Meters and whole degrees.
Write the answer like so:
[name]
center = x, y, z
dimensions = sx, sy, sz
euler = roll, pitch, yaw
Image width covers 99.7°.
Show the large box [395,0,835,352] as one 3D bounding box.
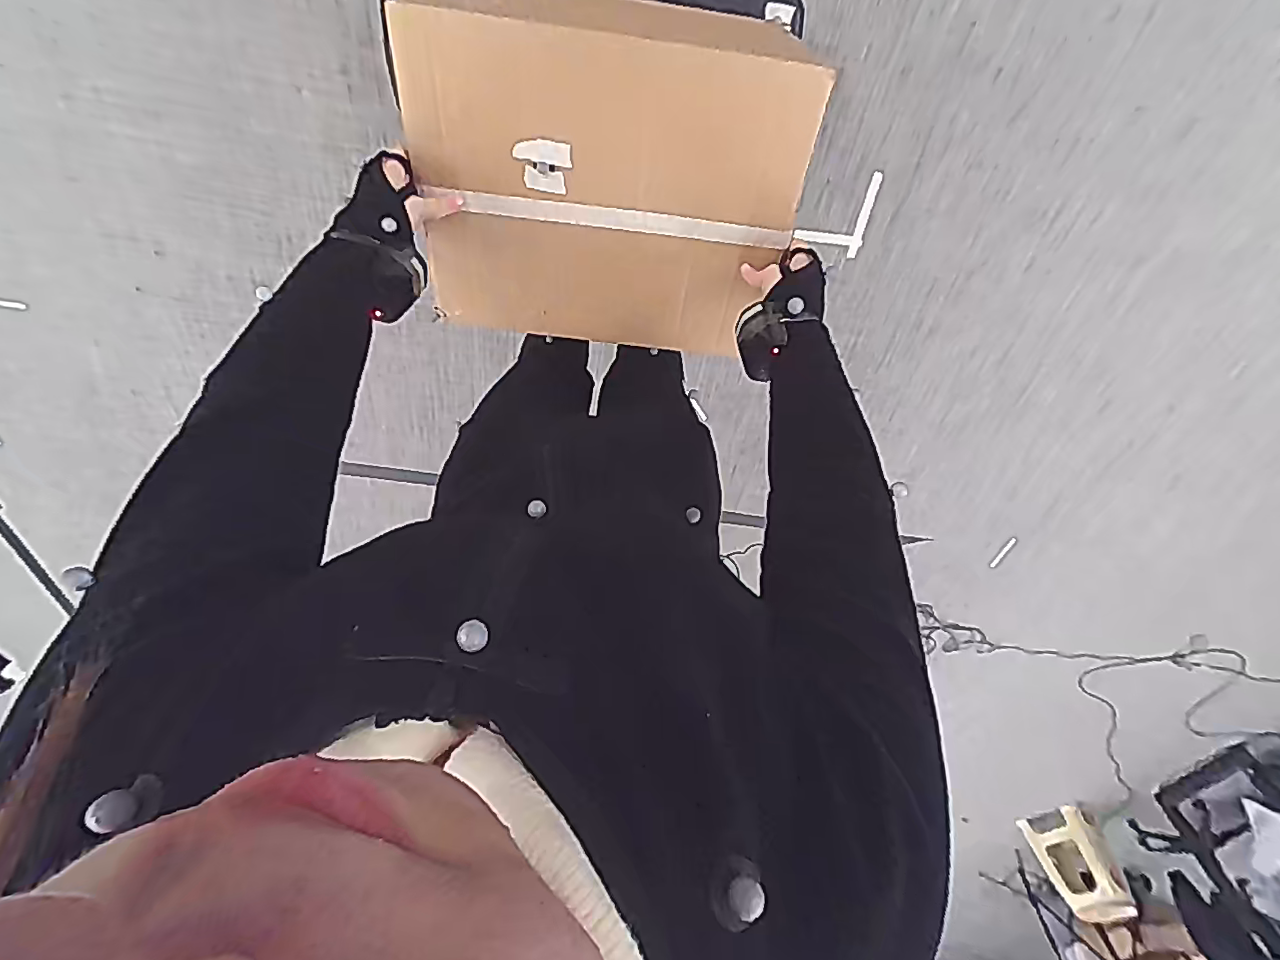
[large box]
center = -0.024, -0.395, 0.686
dimensions = 0.408, 0.320, 0.320
euler = 6, 135, -2
